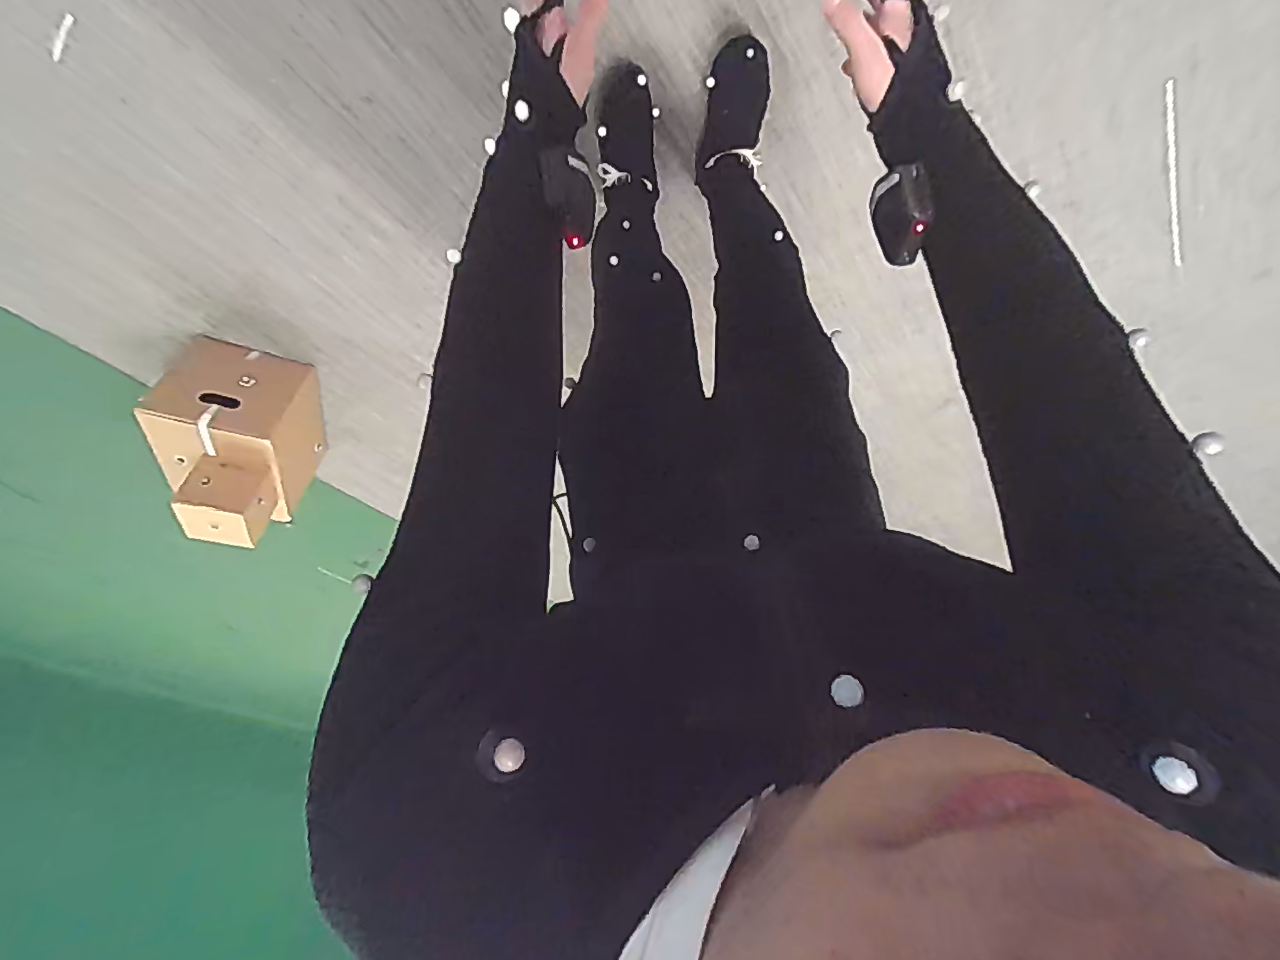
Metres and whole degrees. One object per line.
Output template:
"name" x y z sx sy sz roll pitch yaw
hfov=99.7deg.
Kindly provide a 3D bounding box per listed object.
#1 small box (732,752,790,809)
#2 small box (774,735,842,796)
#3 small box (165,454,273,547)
"small box" 0.483 1.212 2.180 0.179 0.176 0.168 -25 134 29
"small box" 0.610 1.039 1.965 0.168 0.176 0.179 -28 134 30
"small box" -1.131 0.055 1.470 0.168 0.176 0.179 14 139 -16
